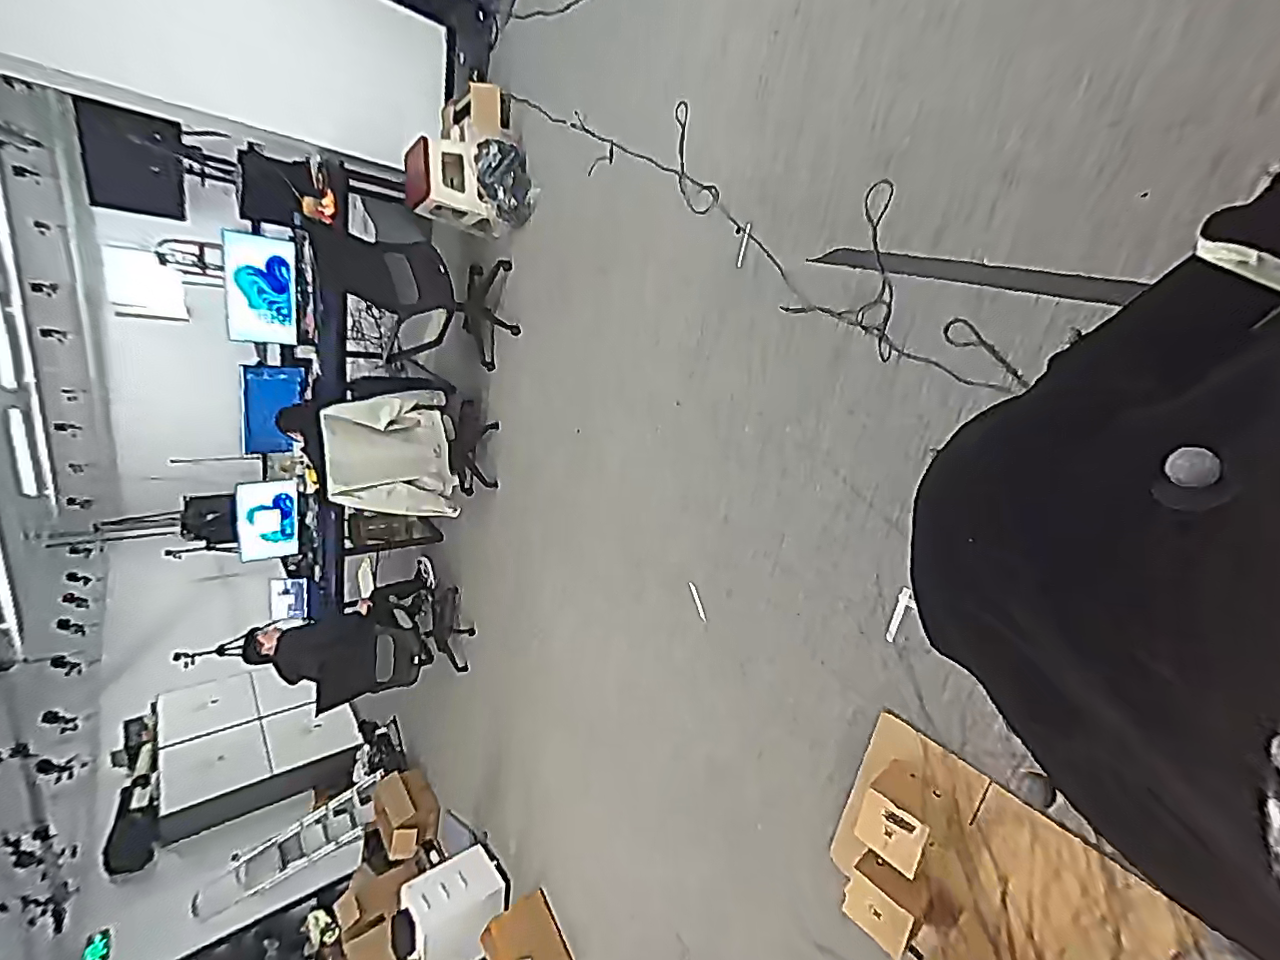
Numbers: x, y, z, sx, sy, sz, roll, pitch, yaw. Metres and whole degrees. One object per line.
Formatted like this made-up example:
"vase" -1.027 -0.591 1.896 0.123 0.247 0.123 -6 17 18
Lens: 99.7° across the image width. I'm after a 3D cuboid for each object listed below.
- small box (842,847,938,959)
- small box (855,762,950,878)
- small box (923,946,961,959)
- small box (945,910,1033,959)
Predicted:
"small box" 0.709 1.176 1.536 0.179 0.176 0.168 23 112 45
"small box" 0.723 0.920 1.483 0.168 0.176 0.179 24 113 45
"small box" 0.726 1.258 1.270 0.179 0.176 0.168 28 116 44
"small box" 0.865 1.252 1.362 0.179 0.176 0.168 23 111 44
